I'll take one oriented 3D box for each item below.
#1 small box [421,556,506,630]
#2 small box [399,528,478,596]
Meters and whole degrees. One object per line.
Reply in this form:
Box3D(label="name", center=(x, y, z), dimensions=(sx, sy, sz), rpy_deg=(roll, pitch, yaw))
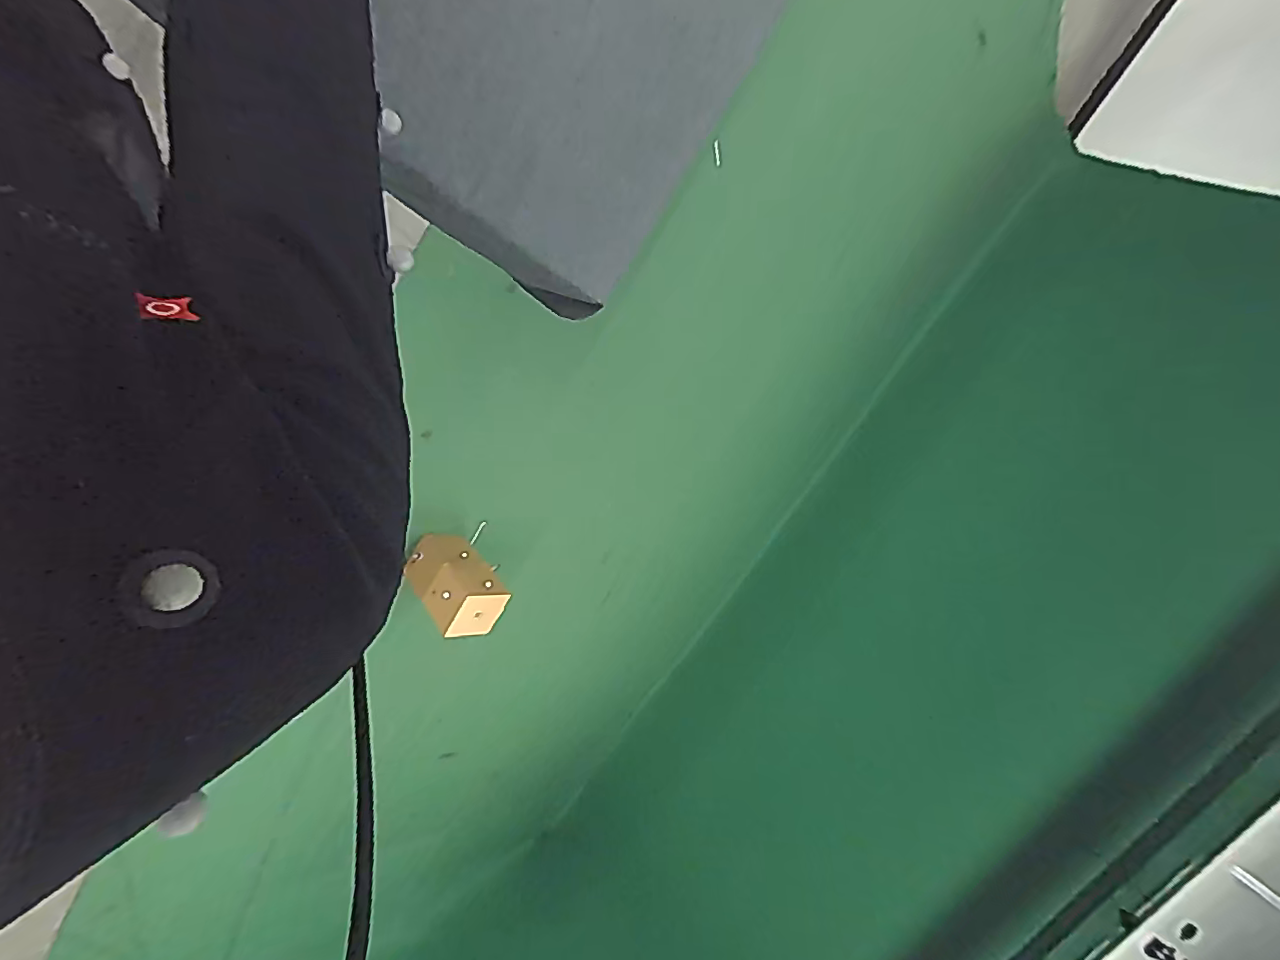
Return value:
Box3D(label="small box", center=(-0.578, 0.362, 1.756), dimensions=(0.179, 0.176, 0.168), rpy_deg=(14, 112, -55))
Box3D(label="small box", center=(-0.684, 0.281, 1.850), dimensions=(0.179, 0.176, 0.168), rpy_deg=(17, 110, -54))
